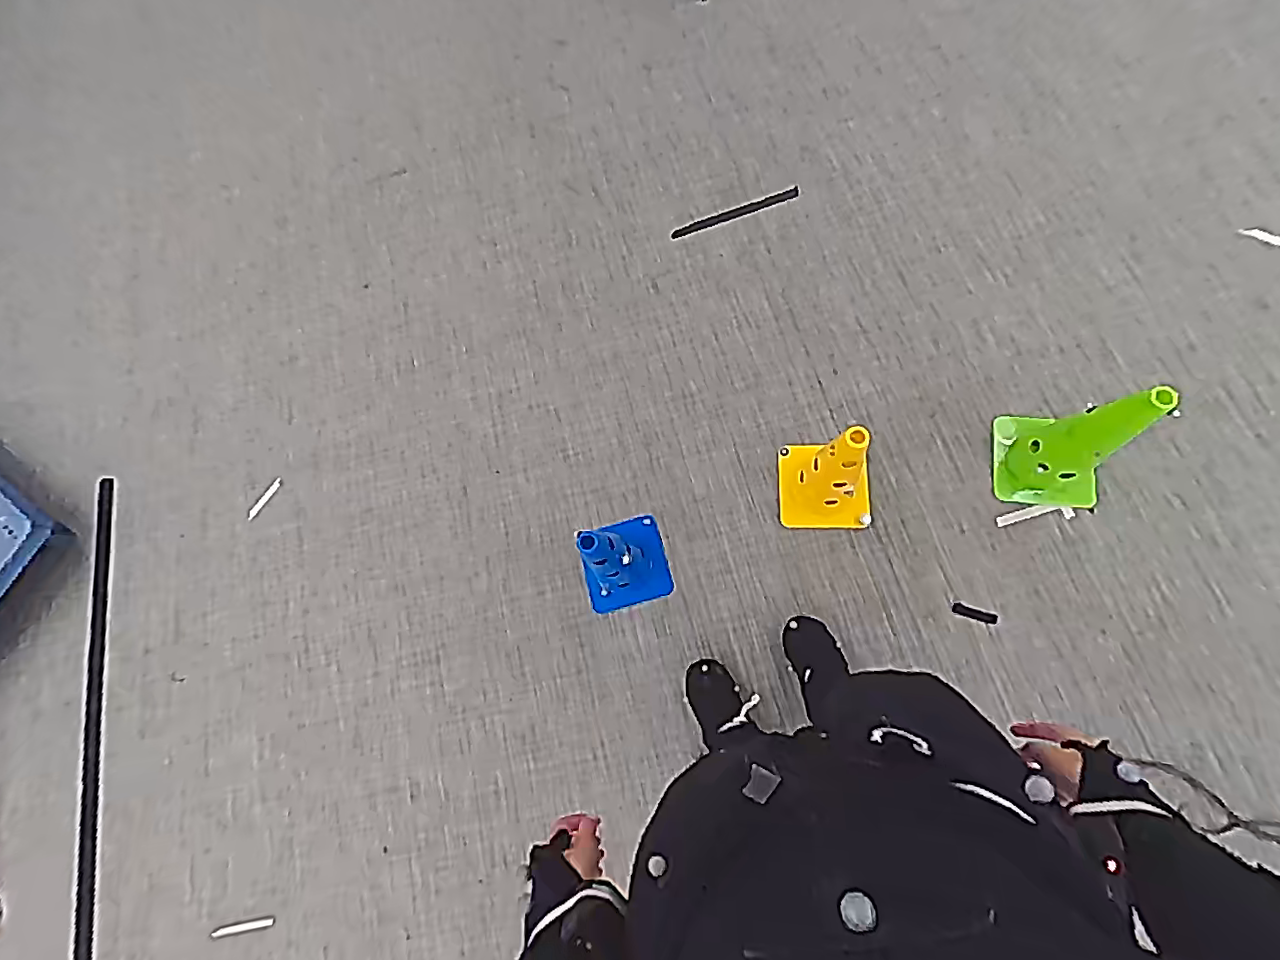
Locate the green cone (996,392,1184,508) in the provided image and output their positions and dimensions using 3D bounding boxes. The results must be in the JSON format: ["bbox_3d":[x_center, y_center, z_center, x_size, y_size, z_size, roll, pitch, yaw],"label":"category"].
[{"bbox_3d":[0.867,-0.084,1.029,0.200,0.368,0.202,5,77,11],"label":"green cone"}]
